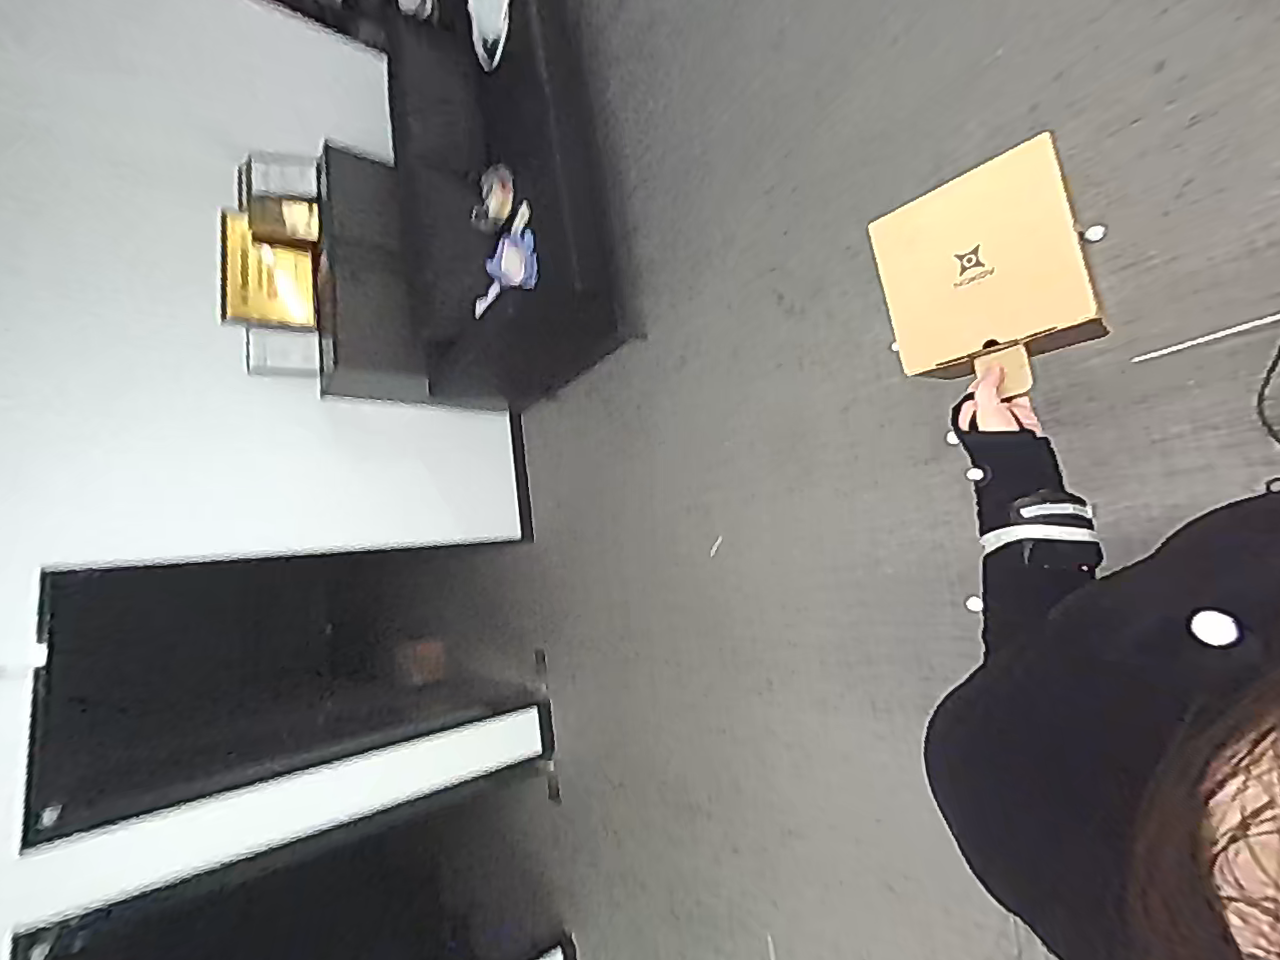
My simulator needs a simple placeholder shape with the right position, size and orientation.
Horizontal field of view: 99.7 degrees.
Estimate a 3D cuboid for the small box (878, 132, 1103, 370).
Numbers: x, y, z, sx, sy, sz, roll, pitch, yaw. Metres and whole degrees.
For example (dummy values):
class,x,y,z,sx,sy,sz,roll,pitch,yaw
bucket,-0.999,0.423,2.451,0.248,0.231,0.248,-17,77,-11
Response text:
class,x,y,z,sx,sy,sz,roll,pitch,yaw
small box,0.389,-0.229,0.598,0.168,0.176,0.179,-13,89,43
